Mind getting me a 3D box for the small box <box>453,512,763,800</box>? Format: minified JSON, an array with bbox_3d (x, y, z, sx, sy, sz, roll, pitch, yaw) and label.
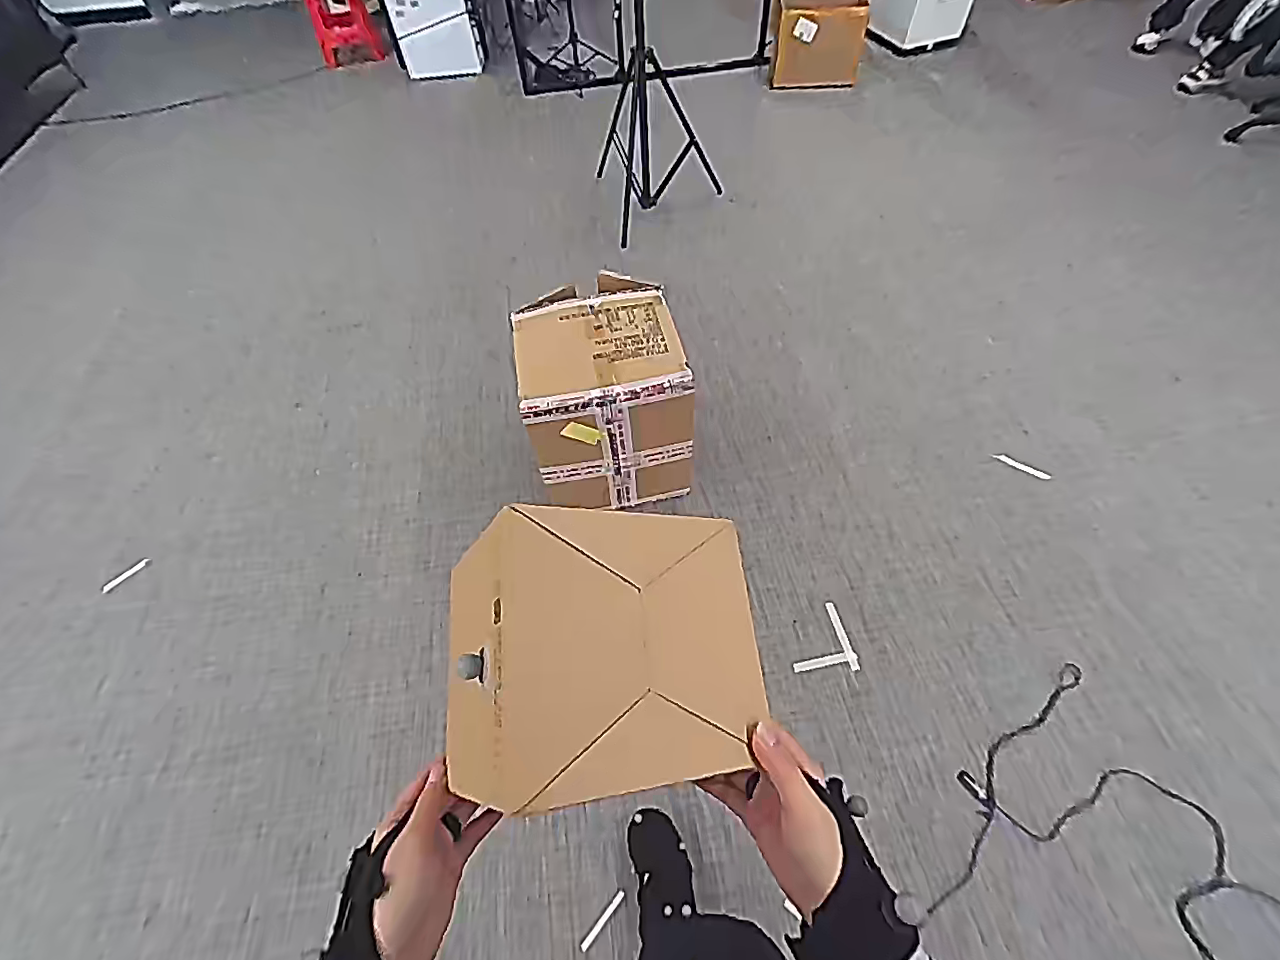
[{"bbox_3d":[-0.034,0.131,0.407,0.179,0.176,0.168,7,64,-29],"label":"small box"}]
